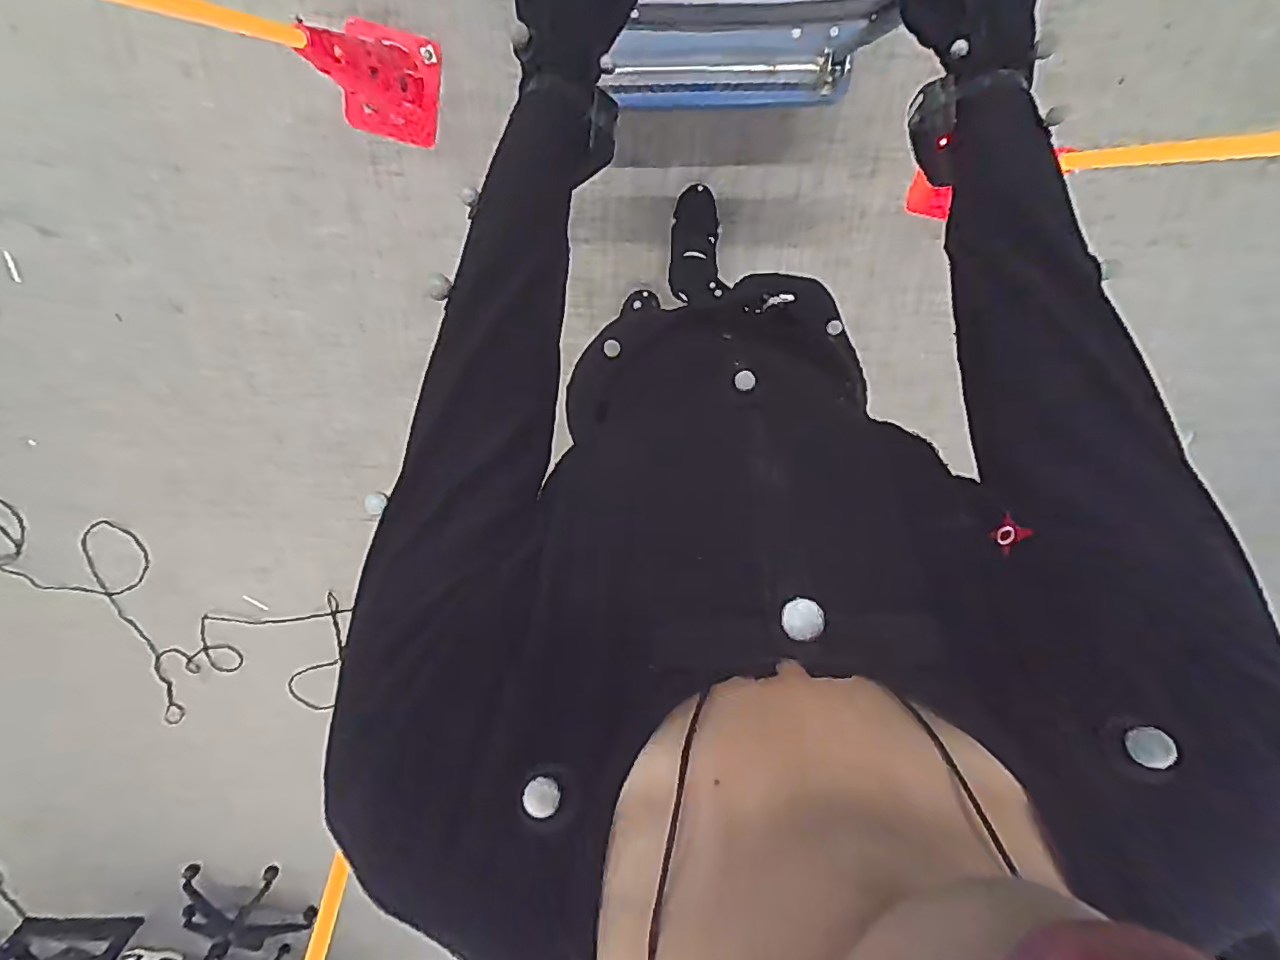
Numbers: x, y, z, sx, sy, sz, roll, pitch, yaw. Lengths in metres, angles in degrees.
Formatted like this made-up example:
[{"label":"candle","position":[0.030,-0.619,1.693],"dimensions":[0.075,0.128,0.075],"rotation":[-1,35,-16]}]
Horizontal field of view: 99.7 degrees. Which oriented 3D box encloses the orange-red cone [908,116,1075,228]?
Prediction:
[{"label":"orange-red cone","position":[0.735,-0.623,1.086],"dimensions":[0.198,0.360,0.199],"rotation":[12,117,-5]}]
